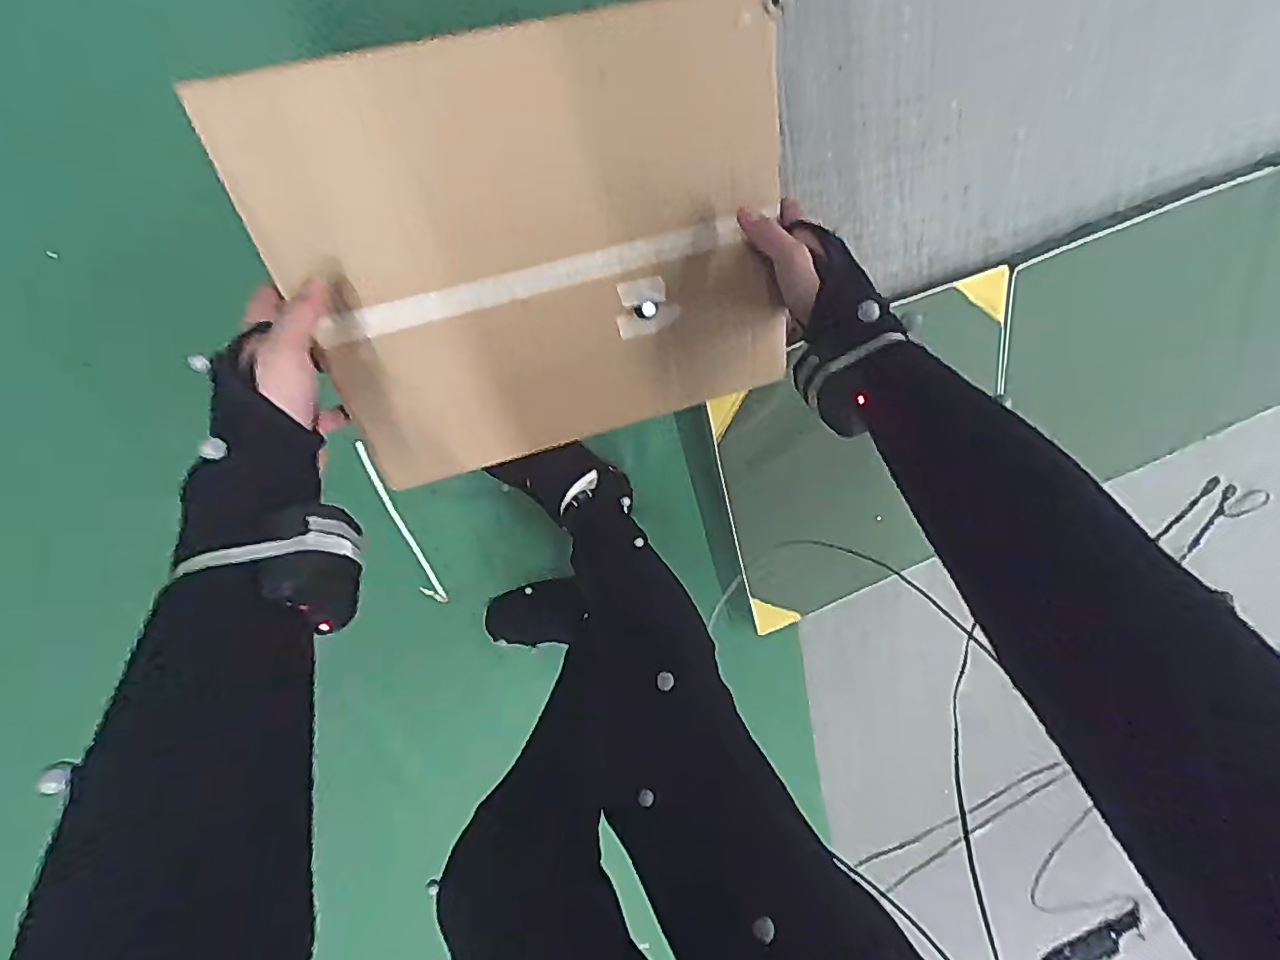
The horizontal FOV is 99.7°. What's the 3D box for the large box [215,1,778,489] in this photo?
[{"bbox_3d":[-0.112,-0.247,0.584,0.408,0.320,0.320,-18,125,-8],"label":"large box"}]
